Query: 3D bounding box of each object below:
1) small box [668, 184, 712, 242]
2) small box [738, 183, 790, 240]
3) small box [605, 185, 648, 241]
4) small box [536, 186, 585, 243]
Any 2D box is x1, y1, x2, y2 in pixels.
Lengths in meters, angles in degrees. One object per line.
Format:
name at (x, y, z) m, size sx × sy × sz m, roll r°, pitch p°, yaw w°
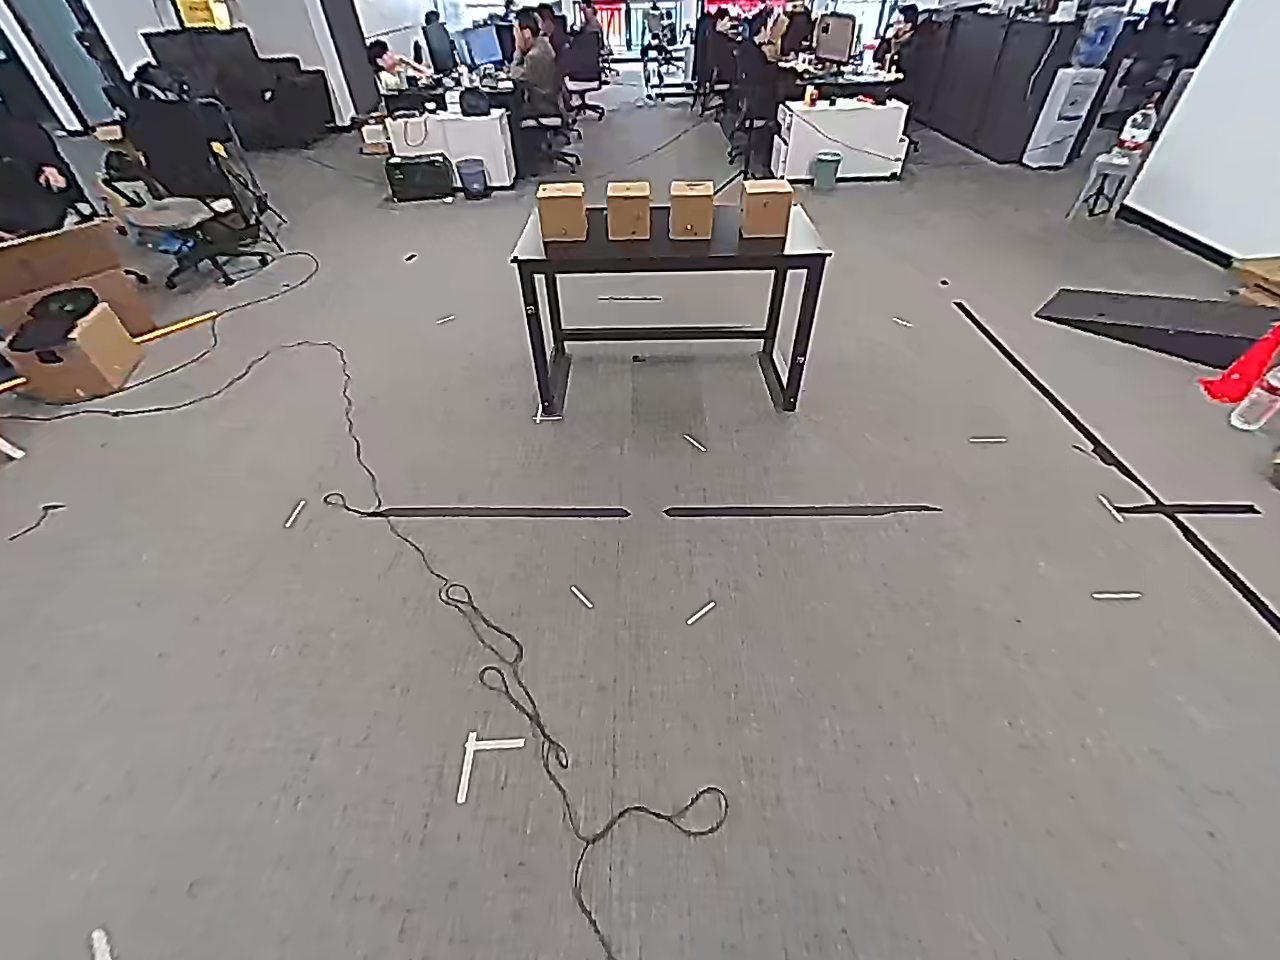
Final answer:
small box at (0.198, -1.069, 2.163) m, size 0.168 × 0.176 × 0.179 m, roll 2°, pitch 44°, yaw 3°
small box at (0.489, -1.071, 2.158) m, size 0.179 × 0.176 × 0.168 m, roll 0°, pitch 43°, yaw 2°
small box at (-0.051, -1.074, 2.178) m, size 0.168 × 0.176 × 0.179 m, roll -1°, pitch 42°, yaw 0°
small box at (-0.314, -1.067, 2.172) m, size 0.179 × 0.176 × 0.168 m, roll -1°, pitch 43°, yaw -1°
